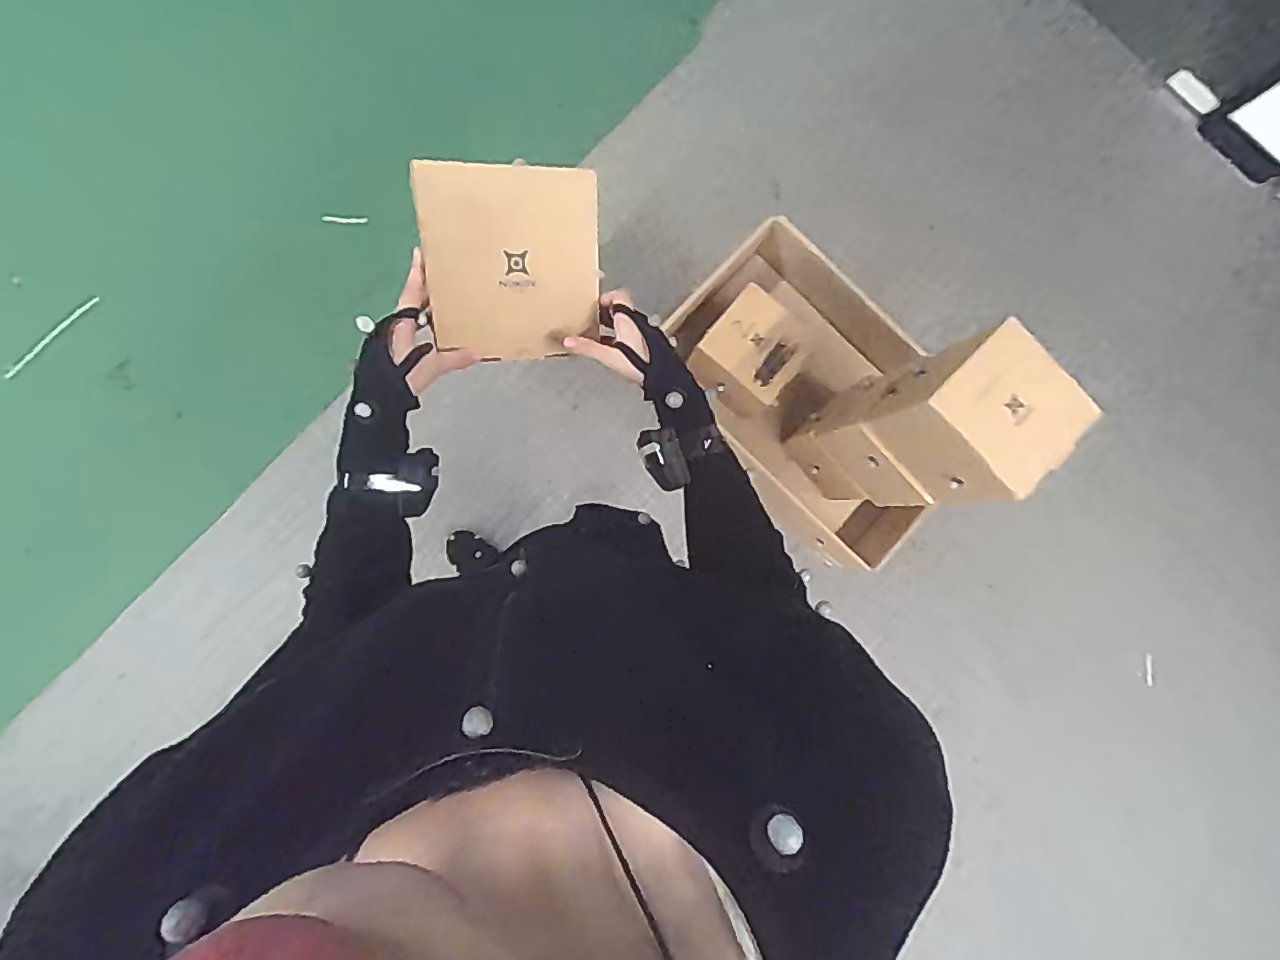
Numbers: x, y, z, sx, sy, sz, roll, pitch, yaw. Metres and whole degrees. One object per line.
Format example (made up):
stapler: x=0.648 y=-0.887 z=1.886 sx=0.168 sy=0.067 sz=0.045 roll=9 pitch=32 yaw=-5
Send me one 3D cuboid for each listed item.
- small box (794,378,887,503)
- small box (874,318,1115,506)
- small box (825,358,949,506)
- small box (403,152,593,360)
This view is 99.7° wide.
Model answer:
small box: x=0.427 y=-0.067 z=1.066 sx=0.179 sy=0.176 sz=0.168 roll=-41 pitch=90 yaw=-6
small box: x=0.468 y=-0.081 z=0.741 sx=0.168 sy=0.176 sz=0.179 roll=-43 pitch=89 yaw=-6
small box: x=0.446 y=-0.067 z=0.903 sx=0.168 sy=0.176 sz=0.179 roll=-42 pitch=90 yaw=-5
small box: x=-0.153 y=-0.233 z=0.579 sx=0.168 sy=0.176 sz=0.179 roll=-8 pitch=114 yaw=-18
